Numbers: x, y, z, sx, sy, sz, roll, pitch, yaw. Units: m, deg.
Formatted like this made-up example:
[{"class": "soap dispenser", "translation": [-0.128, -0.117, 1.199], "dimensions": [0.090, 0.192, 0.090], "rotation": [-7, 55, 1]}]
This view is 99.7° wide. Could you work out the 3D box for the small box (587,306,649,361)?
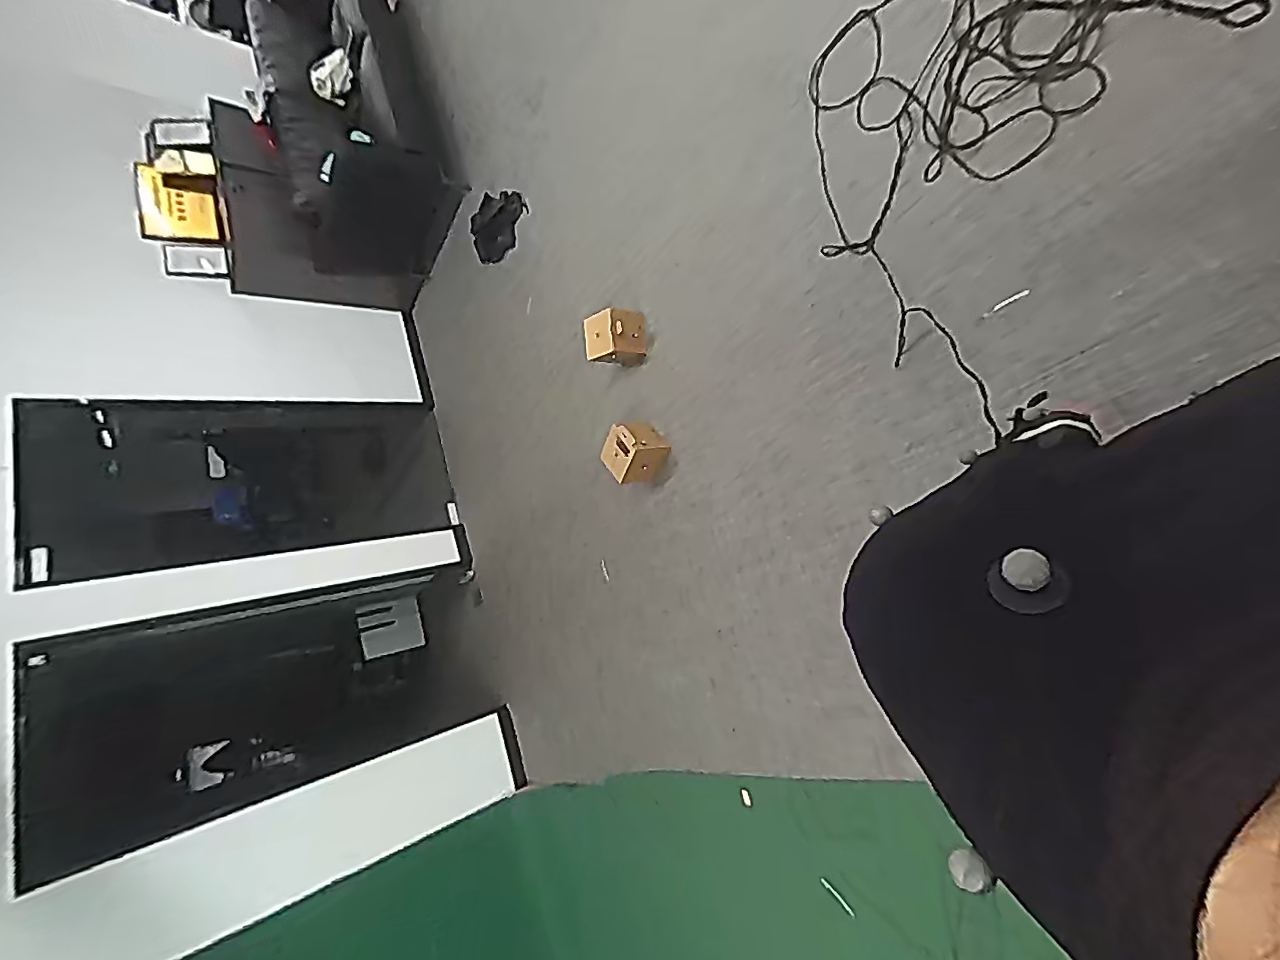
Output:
[{"class": "small box", "translation": [-0.087, -0.569, 2.122], "dimensions": [0.179, 0.176, 0.168], "rotation": [-5, 91, 50]}]
